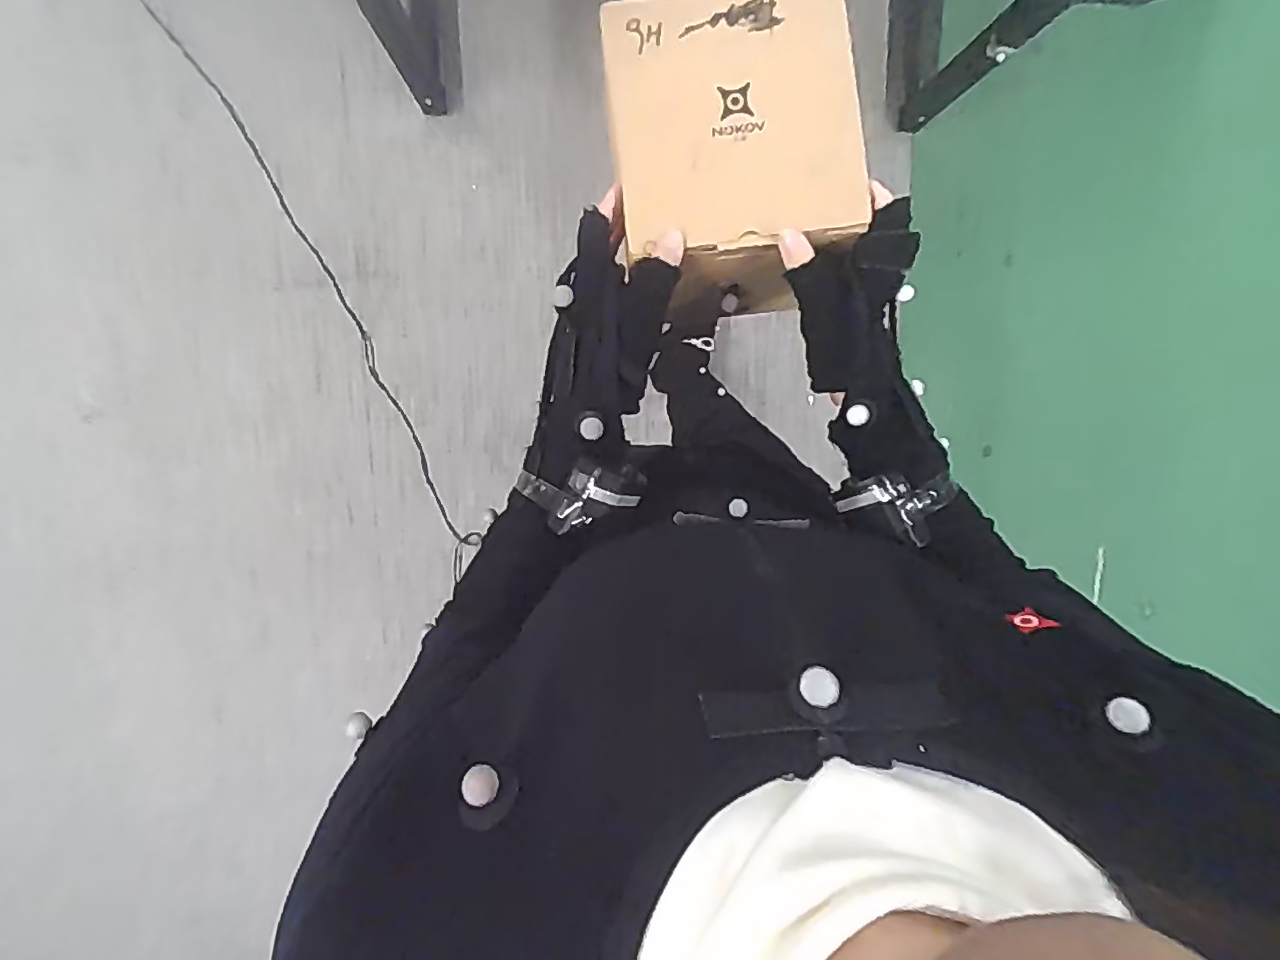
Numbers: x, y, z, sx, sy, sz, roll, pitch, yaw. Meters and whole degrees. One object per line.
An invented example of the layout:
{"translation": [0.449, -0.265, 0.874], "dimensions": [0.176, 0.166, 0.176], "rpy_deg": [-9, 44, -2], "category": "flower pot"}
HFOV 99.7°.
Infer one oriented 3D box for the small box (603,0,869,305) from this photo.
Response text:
{"translation": [0.065, -0.251, 0.439], "dimensions": [0.168, 0.176, 0.179], "rpy_deg": [-6, 92, 0], "category": "small box"}
